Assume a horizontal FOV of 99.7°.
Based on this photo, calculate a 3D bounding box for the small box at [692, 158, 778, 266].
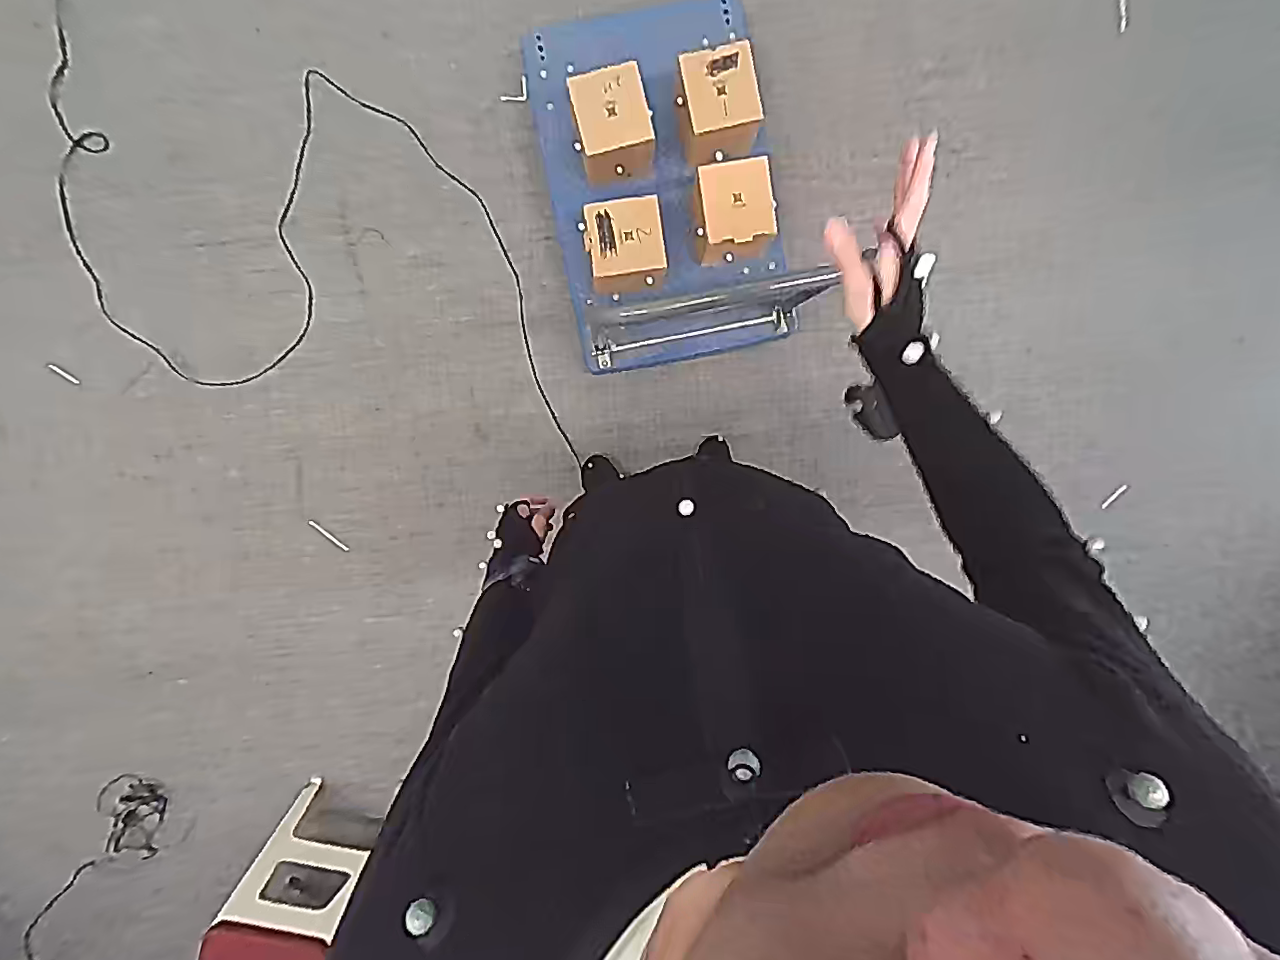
[{"bbox_3d":[0.226,-0.649,1.325,0.168,0.176,0.179,-9,94,0],"label":"small box"}]

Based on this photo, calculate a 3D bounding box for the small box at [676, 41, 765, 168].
[{"bbox_3d":[0.186,-0.893,1.301,0.168,0.176,0.179,-13,96,0],"label":"small box"}]

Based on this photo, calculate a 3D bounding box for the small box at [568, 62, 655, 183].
[{"bbox_3d":[-0.065,-0.843,1.299,0.168,0.176,0.179,-15,95,-1],"label":"small box"}]
